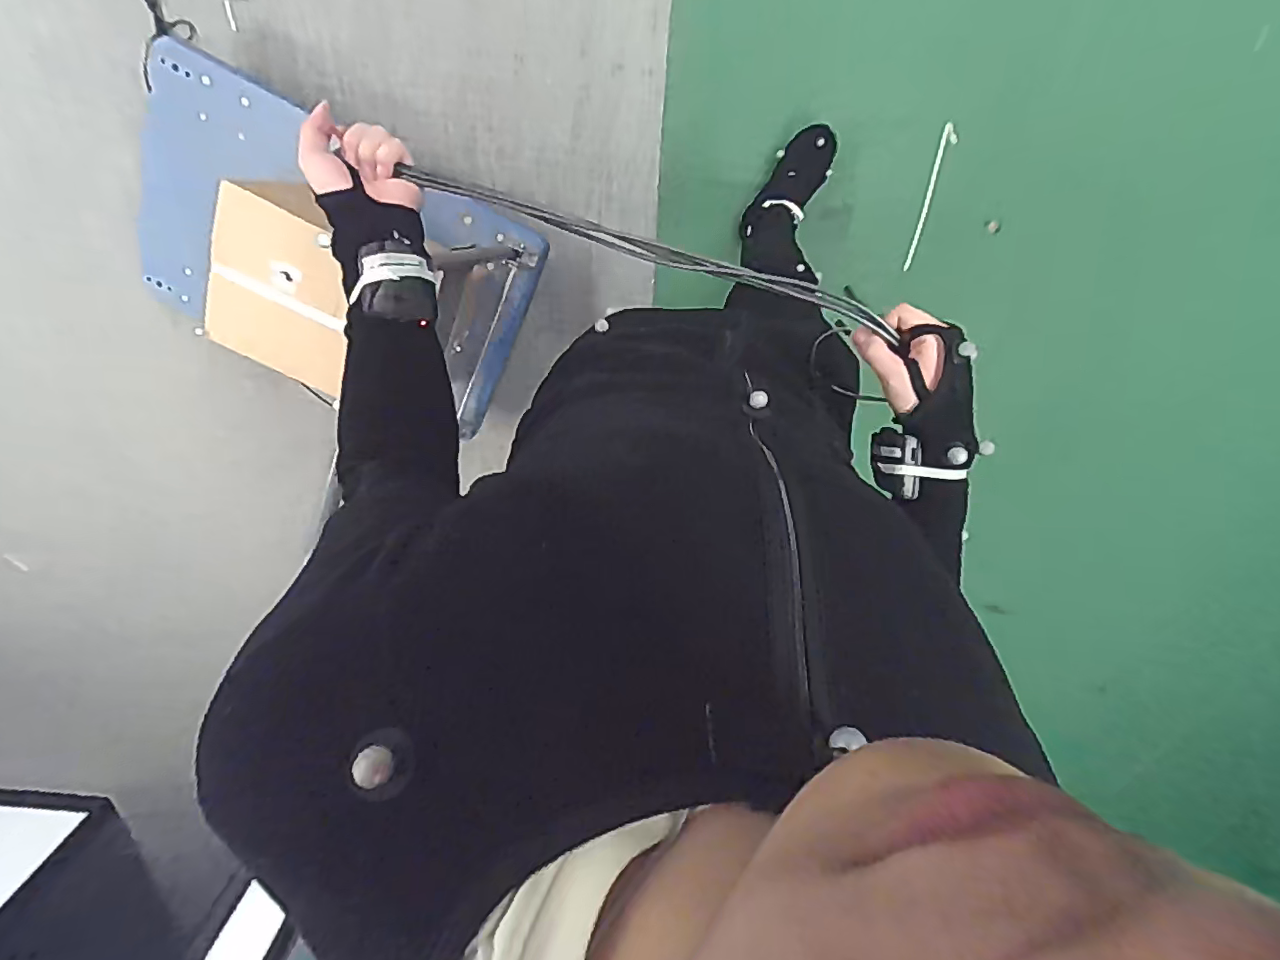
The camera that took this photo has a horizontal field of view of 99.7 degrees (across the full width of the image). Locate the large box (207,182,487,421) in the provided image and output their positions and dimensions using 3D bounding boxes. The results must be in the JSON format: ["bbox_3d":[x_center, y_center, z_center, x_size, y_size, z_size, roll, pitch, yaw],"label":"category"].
[{"bbox_3d":[-0.603,-0.387,1.163,0.408,0.320,0.320,26,115,-9],"label":"large box"}]
